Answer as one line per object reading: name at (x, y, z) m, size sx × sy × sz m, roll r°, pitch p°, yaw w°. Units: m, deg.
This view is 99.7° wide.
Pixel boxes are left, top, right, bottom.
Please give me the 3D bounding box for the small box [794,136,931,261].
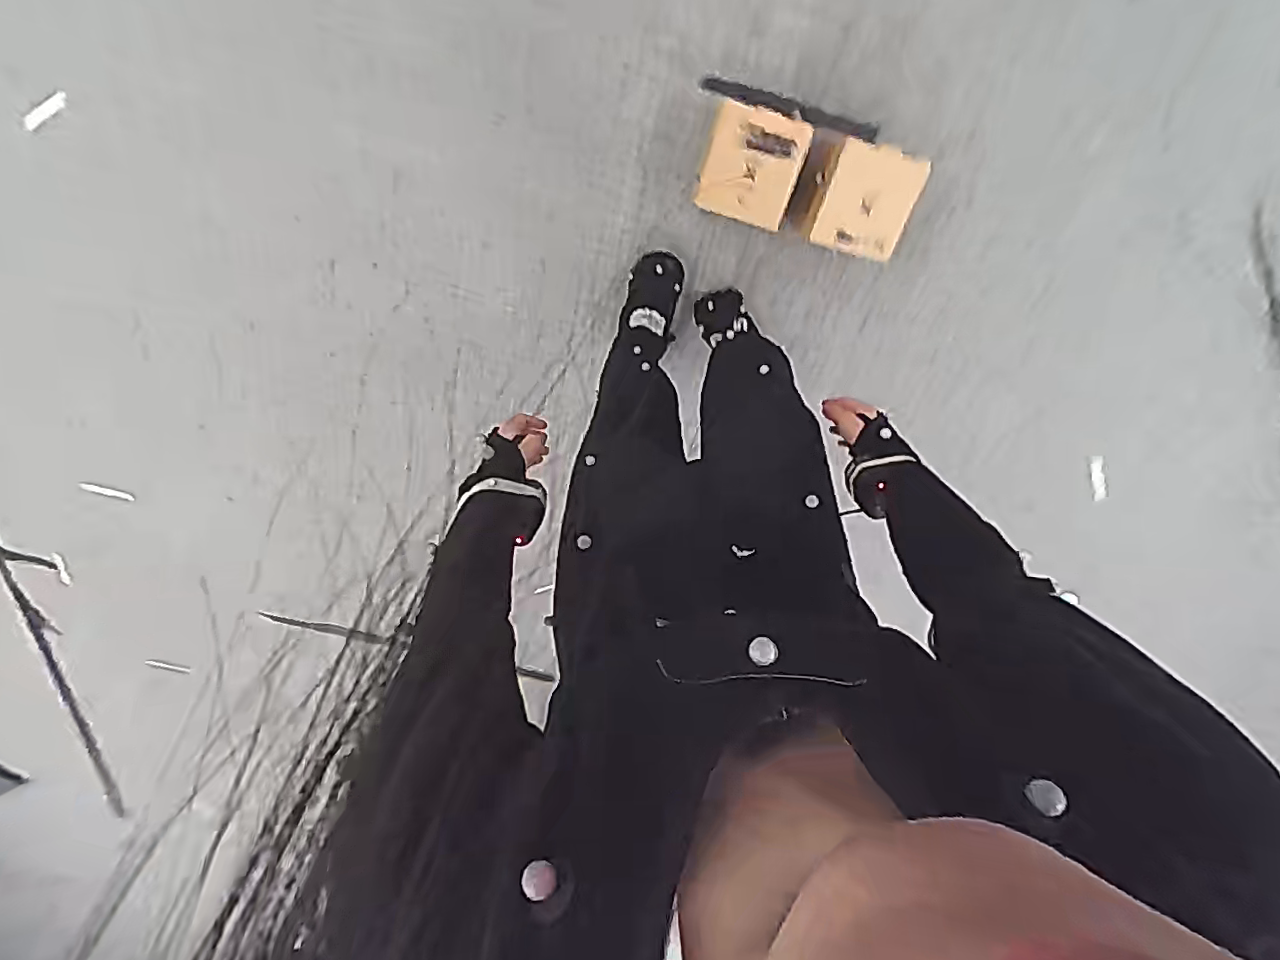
small box at (0.425, -0.558, 1.072) m, size 0.168 × 0.176 × 0.179 m, roll 14°, pitch 120°, yaw -7°
